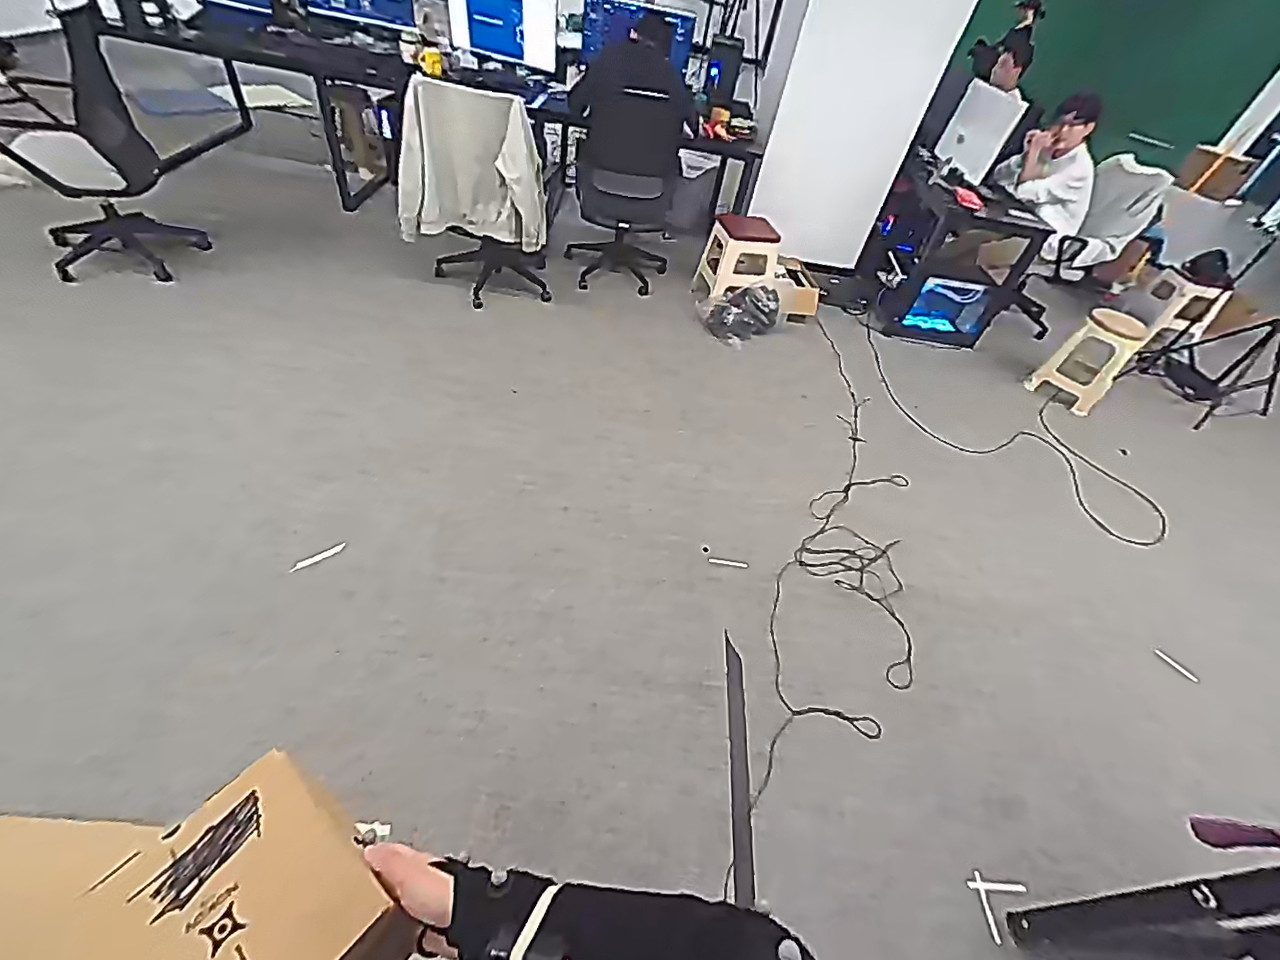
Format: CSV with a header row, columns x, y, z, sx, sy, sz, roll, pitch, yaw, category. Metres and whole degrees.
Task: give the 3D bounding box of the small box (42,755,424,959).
x,y,z,sx,sy,sz,roll,pitch,yaw,category
-0.309,0.377,0.445,0.179,0.176,0.168,33,51,24,small box
